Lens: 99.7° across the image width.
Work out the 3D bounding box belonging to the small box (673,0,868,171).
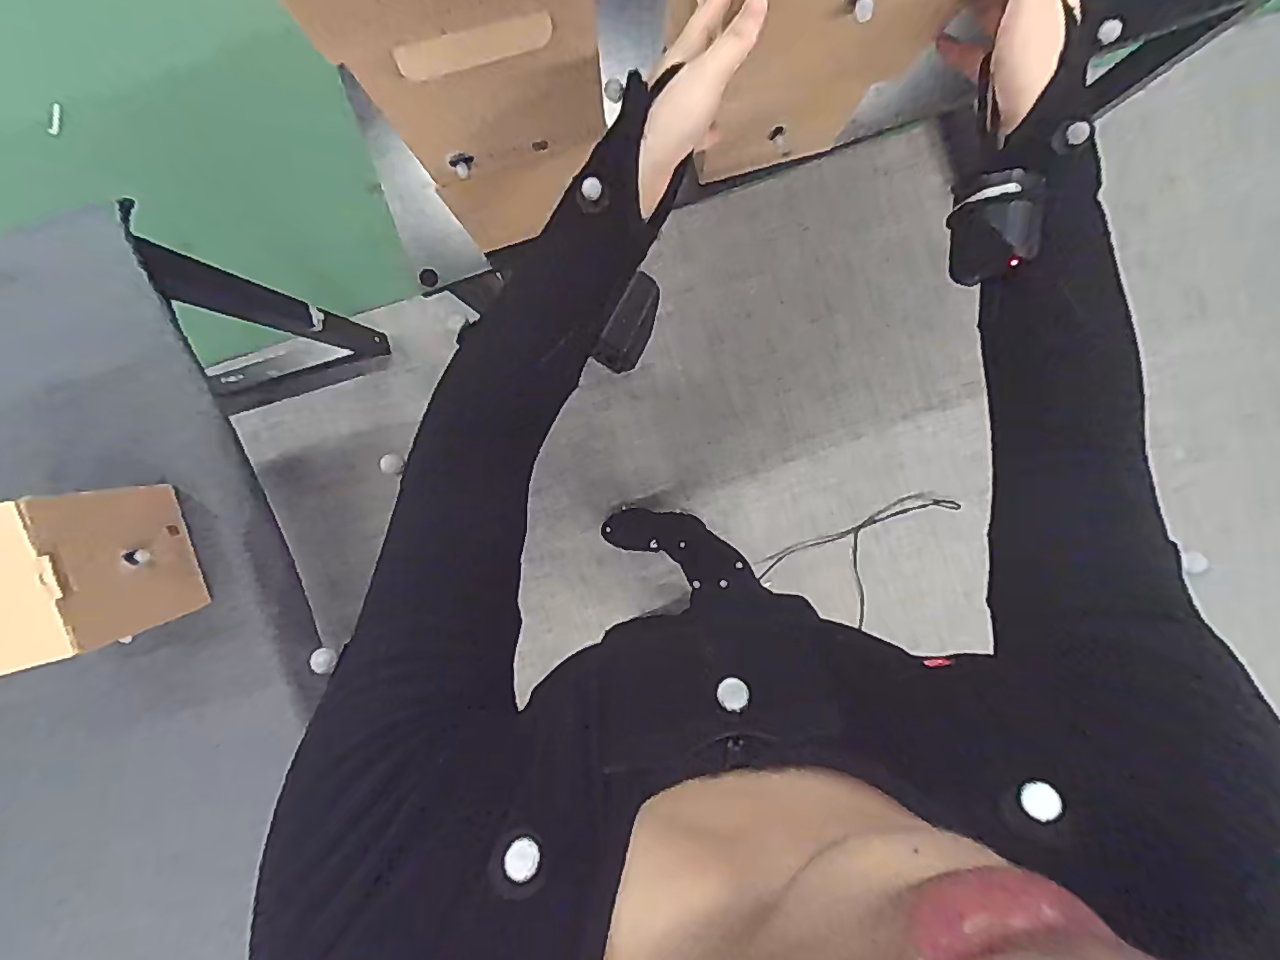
[{"bbox_3d":[0.136,-0.457,0.570,0.168,0.176,0.179,-15,94,1],"label":"small box"}]

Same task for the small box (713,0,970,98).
[{"bbox_3d":[0.154,-0.426,0.406,0.179,0.176,0.168,-8,99,0],"label":"small box"}]

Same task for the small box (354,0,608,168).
[{"bbox_3d":[-0.125,-0.370,0.413,0.168,0.176,0.179,-15,93,0],"label":"small box"}]

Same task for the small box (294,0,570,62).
[{"bbox_3d":[-0.121,-0.350,0.252,0.179,0.176,0.168,-15,93,1],"label":"small box"}]

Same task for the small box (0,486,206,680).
[{"bbox_3d":[-0.649,0.111,0.617,0.179,0.176,0.168,-15,95,3],"label":"small box"}]
